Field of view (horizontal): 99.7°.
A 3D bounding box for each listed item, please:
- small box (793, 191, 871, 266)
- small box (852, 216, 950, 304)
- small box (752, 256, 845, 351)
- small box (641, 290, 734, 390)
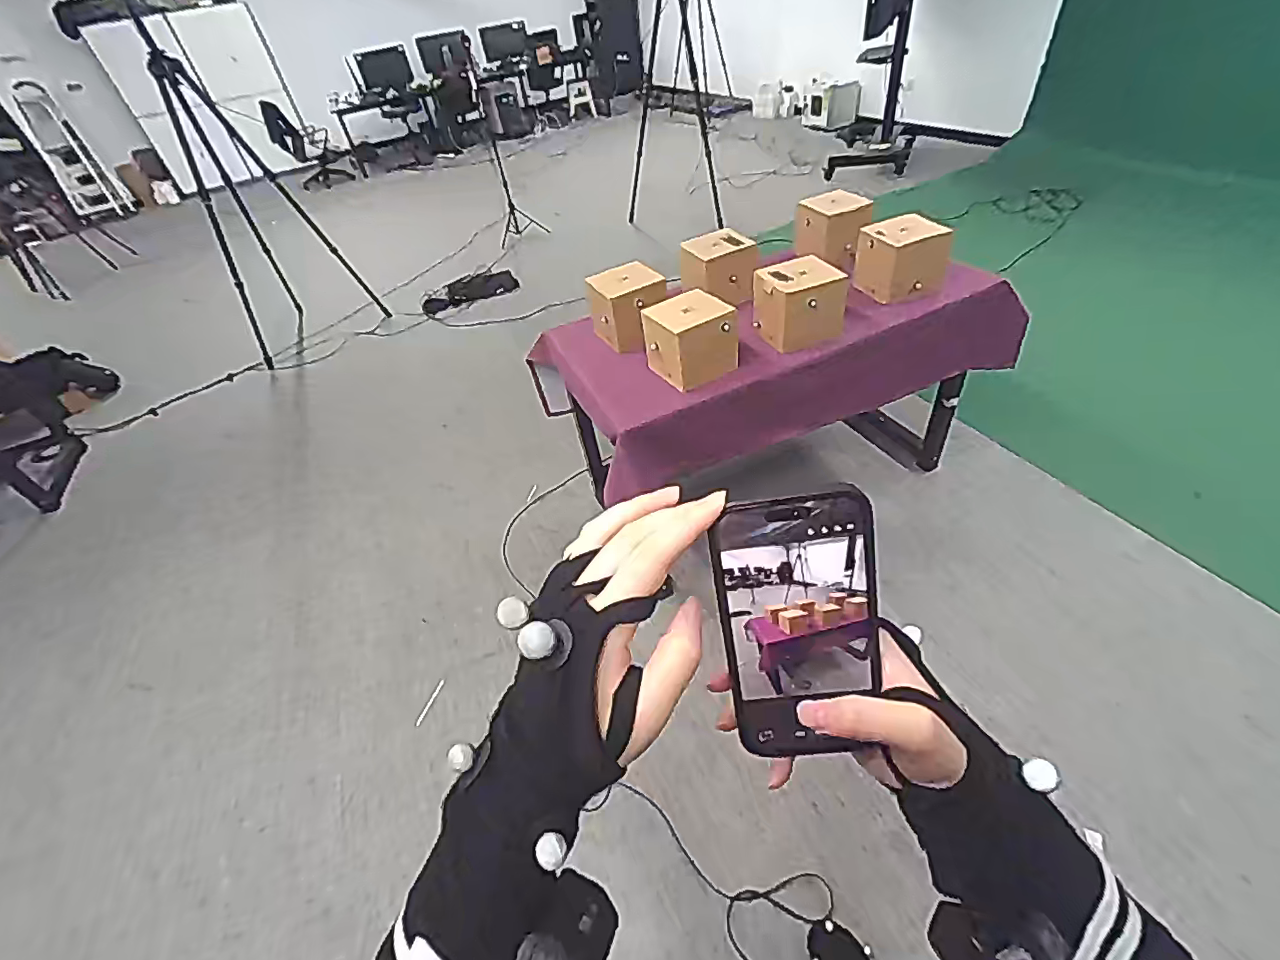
[{"bbox_3d":[0.612,-0.812,1.754,0.168,0.176,0.179,-21,45,-10],"label":"small box"},{"bbox_3d":[0.729,-0.623,1.533,0.179,0.176,0.168,-18,43,-8],"label":"small box"},{"bbox_3d":[0.412,-0.463,1.427,0.179,0.176,0.168,-18,44,-9],"label":"small box"},{"bbox_3d":[0.125,-0.352,1.367,0.179,0.176,0.168,-26,45,-18],"label":"small box"}]
